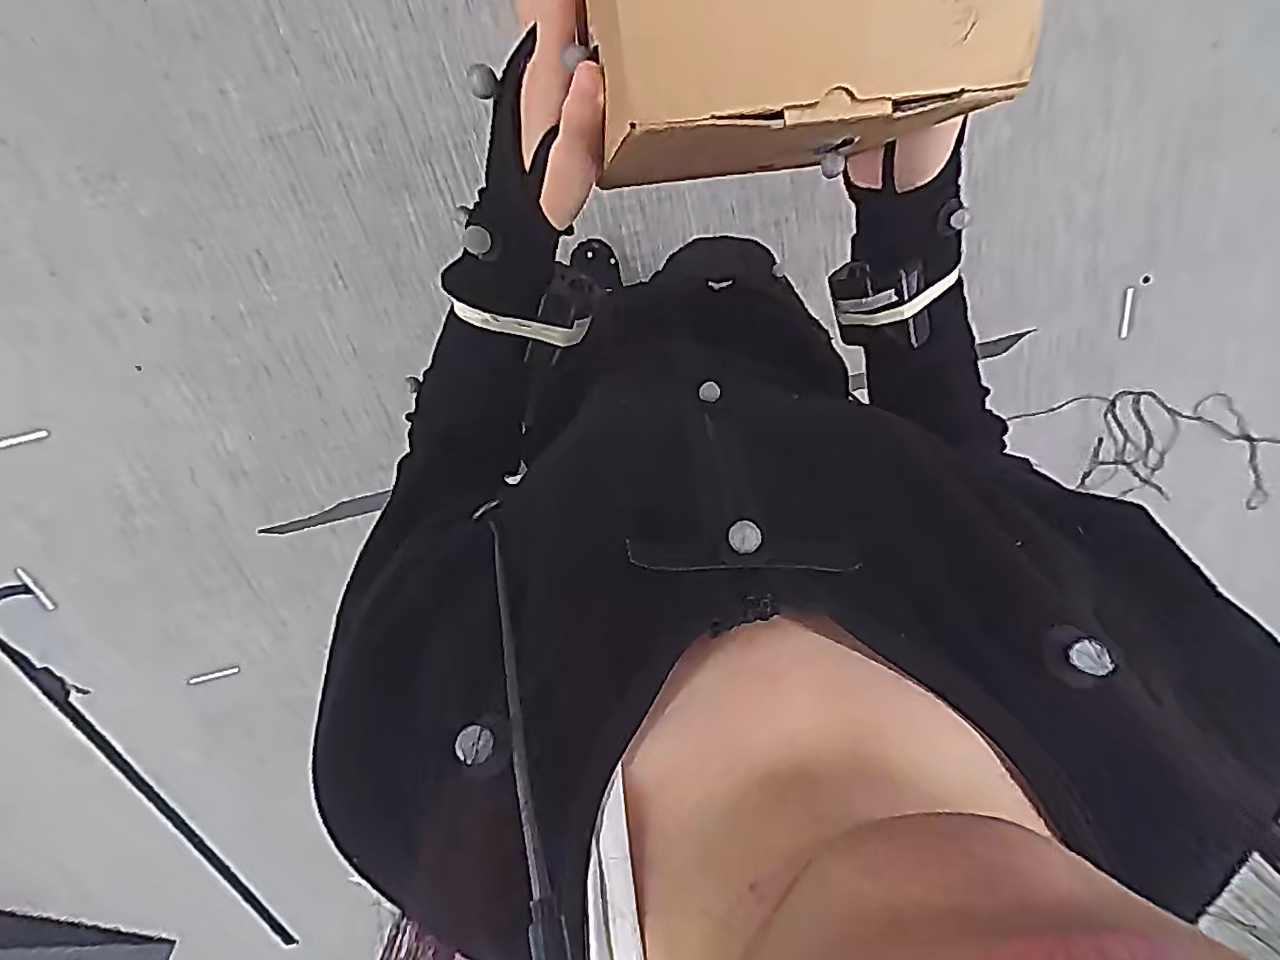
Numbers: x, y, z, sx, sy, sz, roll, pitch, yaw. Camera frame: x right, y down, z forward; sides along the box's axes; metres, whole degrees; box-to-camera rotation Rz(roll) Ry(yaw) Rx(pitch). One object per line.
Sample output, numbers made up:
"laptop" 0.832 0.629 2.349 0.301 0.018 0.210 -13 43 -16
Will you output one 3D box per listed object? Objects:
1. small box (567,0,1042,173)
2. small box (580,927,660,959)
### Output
"small box" 0.053 -0.253 0.248 0.168 0.176 0.179 -10 112 -7
"small box" -0.032 1.090 1.133 0.168 0.176 0.179 -10 114 -4
